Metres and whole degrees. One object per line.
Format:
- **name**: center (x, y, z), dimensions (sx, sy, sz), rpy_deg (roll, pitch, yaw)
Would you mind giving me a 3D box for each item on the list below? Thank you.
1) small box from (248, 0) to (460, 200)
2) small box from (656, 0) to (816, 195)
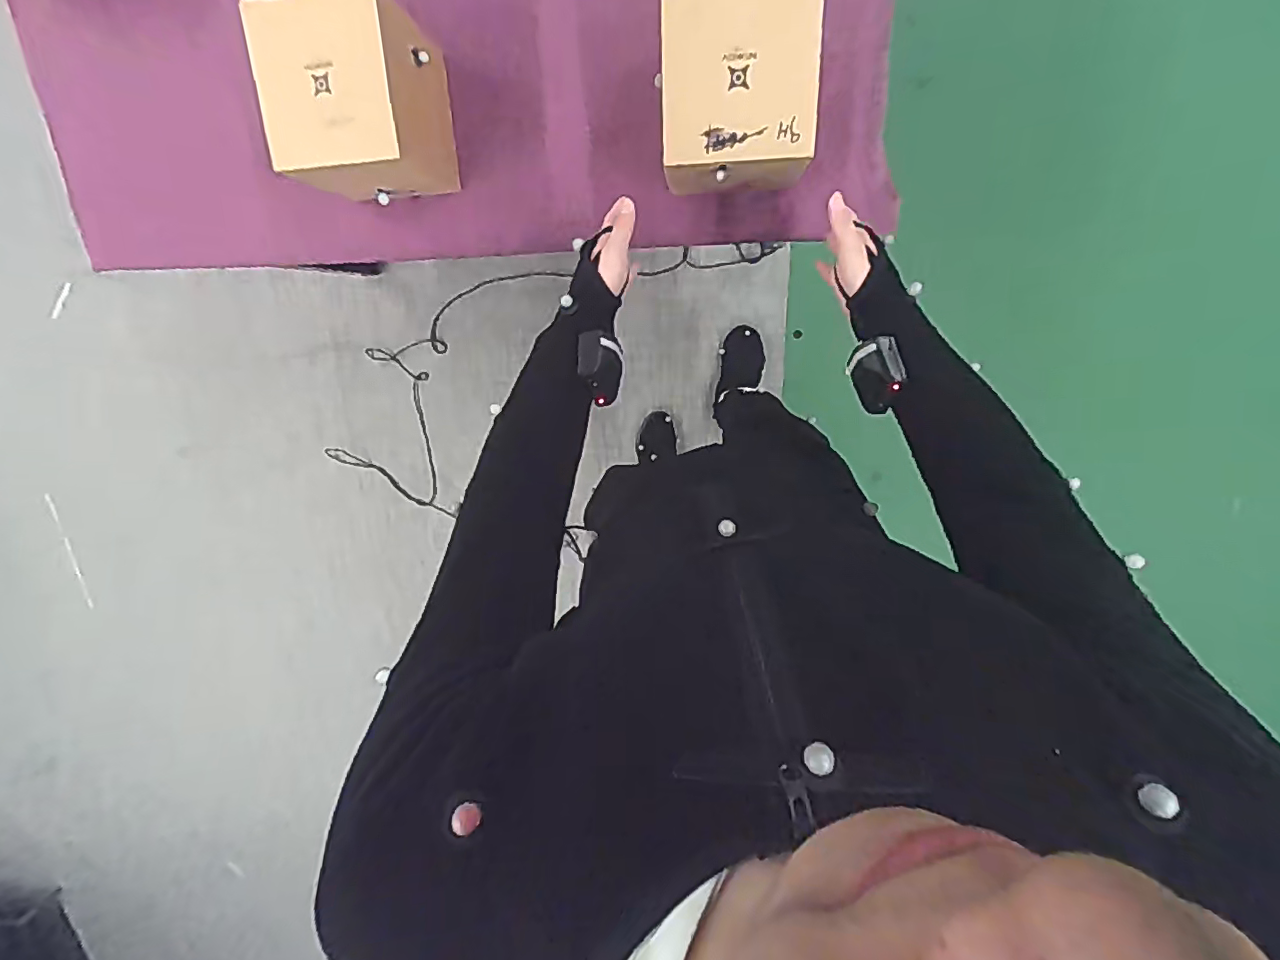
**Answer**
- **small box**: center (-0.356, -0.484, 0.707), dimensions (0.168, 0.176, 0.179), rpy_deg (0, 107, 8)
- **small box**: center (0.109, -0.459, 0.650), dimensions (0.168, 0.176, 0.179), rpy_deg (1, 108, 8)
